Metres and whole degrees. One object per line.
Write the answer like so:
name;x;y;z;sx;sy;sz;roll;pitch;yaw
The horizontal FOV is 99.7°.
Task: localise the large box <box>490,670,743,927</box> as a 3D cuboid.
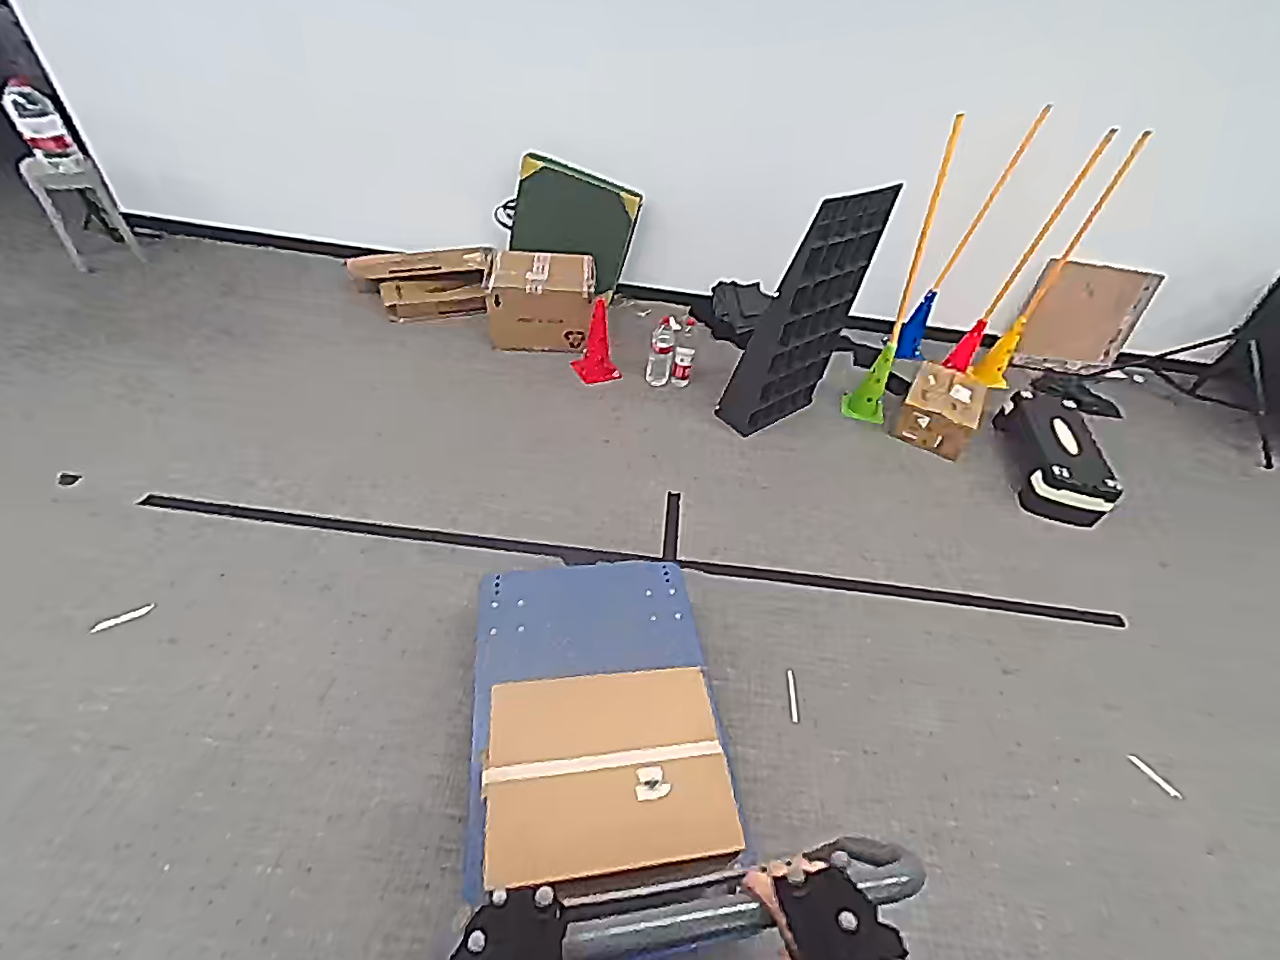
large box;-0.073;0.594;1.025;0.408;0.320;0.320;-1;45;-13
